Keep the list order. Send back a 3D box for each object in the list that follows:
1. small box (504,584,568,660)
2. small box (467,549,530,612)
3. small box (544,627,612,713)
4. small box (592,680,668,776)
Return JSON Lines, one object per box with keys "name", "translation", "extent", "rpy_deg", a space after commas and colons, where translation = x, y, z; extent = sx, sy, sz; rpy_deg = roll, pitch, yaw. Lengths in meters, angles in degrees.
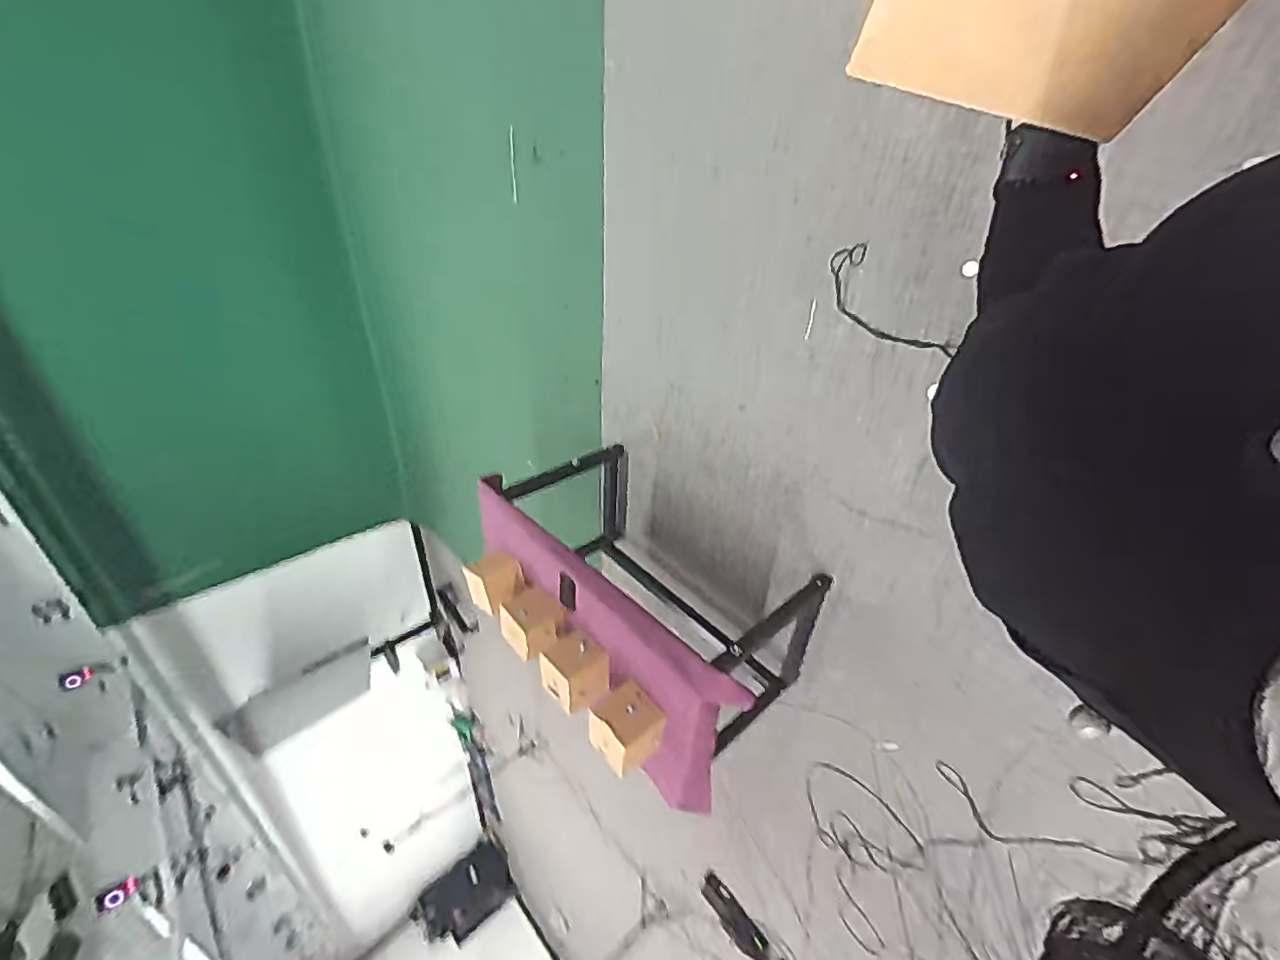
{"name": "small box", "translation": [-0.380, 0.516, 1.990], "extent": [0.179, 0.176, 0.168], "rpy_deg": [37, 135, 34]}
{"name": "small box", "translation": [-0.552, 0.391, 2.138], "extent": [0.179, 0.176, 0.168], "rpy_deg": [11, 118, 49]}
{"name": "small box", "translation": [-0.209, 0.642, 1.841], "extent": [0.168, 0.176, 0.179], "rpy_deg": [30, 130, 39]}
{"name": "small box", "translation": [-0.031, 0.764, 1.682], "extent": [0.168, 0.176, 0.179], "rpy_deg": [36, 134, 36]}
